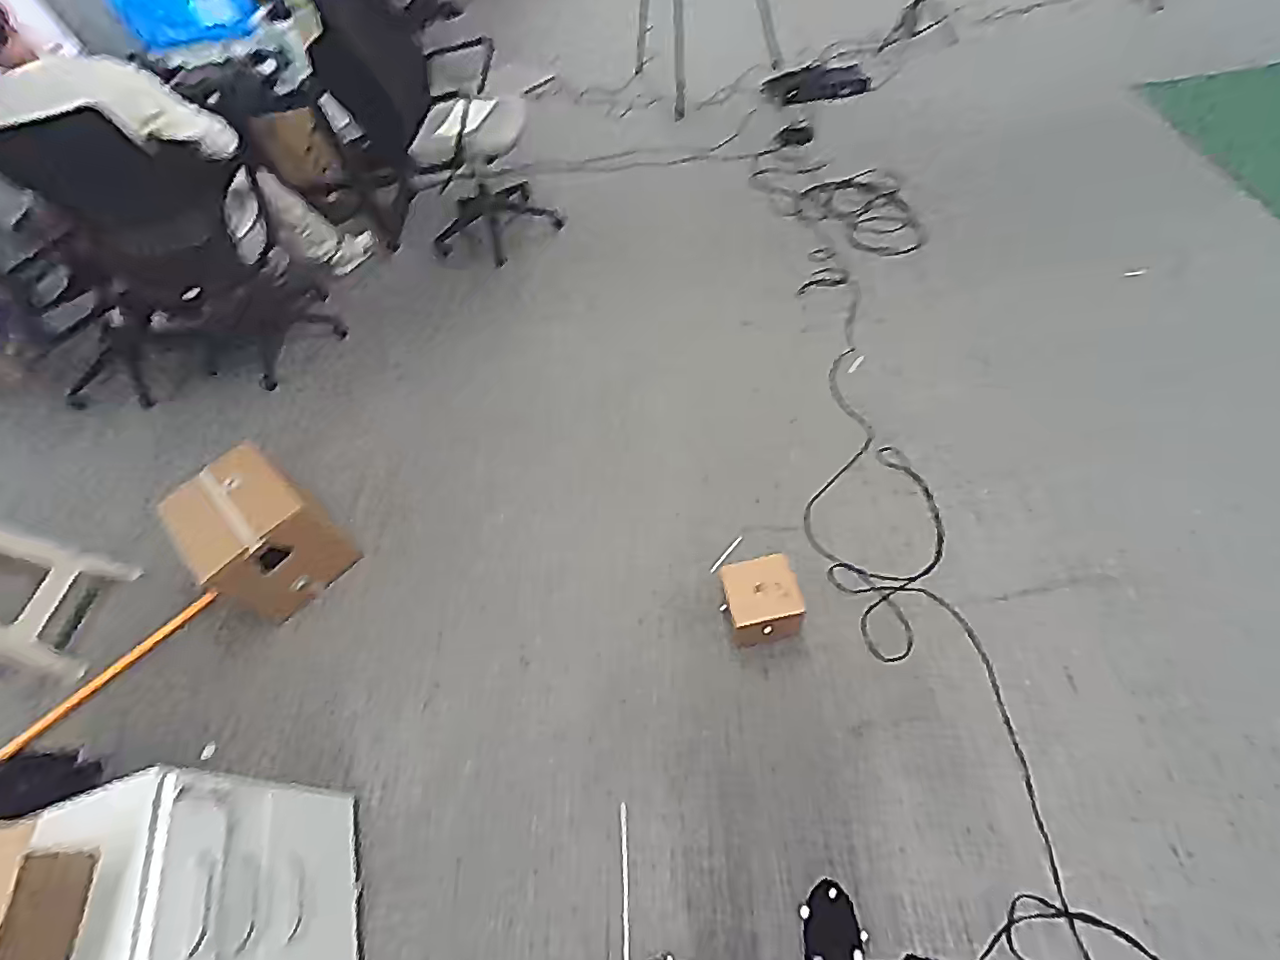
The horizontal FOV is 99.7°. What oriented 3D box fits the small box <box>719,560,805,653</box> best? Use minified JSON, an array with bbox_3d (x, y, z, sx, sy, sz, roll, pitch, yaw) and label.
[{"bbox_3d":[0.311,0.334,1.403,0.179,0.176,0.168,-13,54,0],"label":"small box"}]
